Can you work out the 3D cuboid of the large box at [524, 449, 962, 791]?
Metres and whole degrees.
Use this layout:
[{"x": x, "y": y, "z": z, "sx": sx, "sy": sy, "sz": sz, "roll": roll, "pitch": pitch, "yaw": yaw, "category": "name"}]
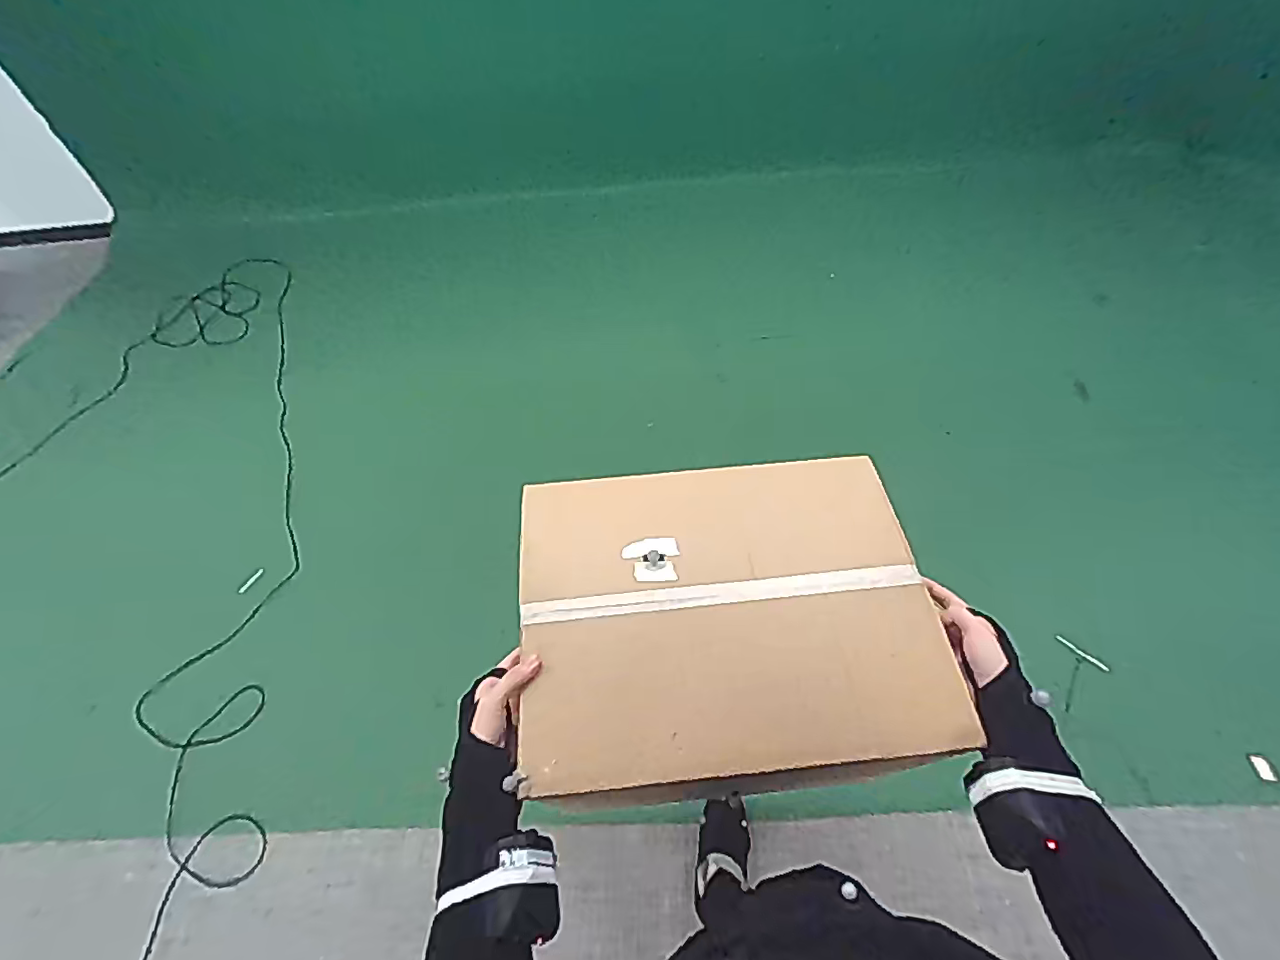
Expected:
[{"x": 0.086, "y": 0.191, "z": 0.684, "sx": 0.408, "sy": 0.320, "sz": 0.320, "roll": -6, "pitch": 57, "yaw": -1, "category": "large box"}]
